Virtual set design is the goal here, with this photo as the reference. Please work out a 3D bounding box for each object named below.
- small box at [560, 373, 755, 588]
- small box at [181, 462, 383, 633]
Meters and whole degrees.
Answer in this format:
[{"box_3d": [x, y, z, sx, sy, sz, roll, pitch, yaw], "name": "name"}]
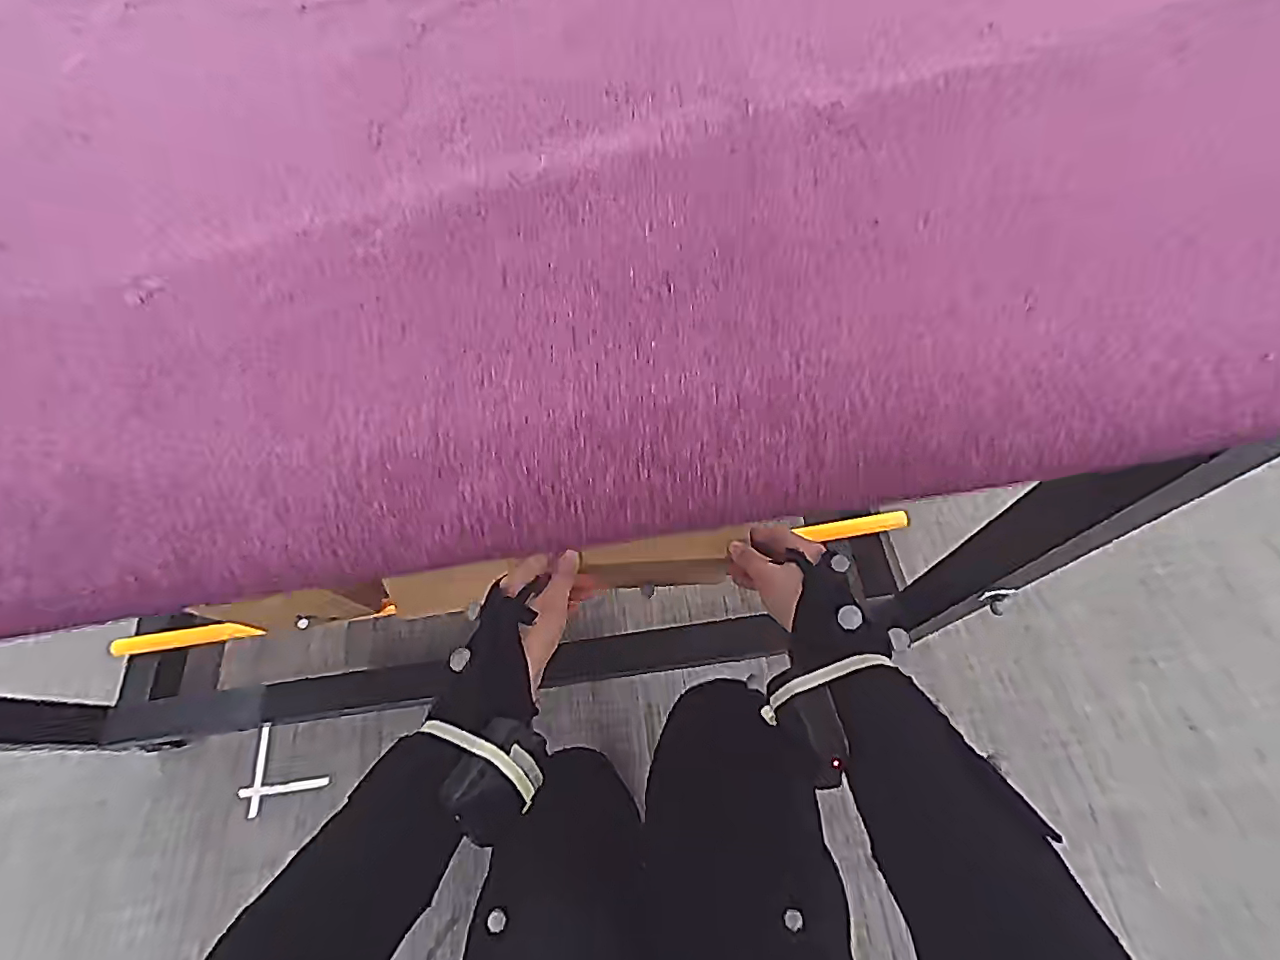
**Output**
[{"box_3d": [0.011, 0.010, 0.551, 0.168, 0.176, 0.179, -2, 72, -1], "name": "small box"}, {"box_3d": [-0.482, 0.100, 0.760, 0.168, 0.176, 0.179, -11, 64, -1], "name": "small box"}]
